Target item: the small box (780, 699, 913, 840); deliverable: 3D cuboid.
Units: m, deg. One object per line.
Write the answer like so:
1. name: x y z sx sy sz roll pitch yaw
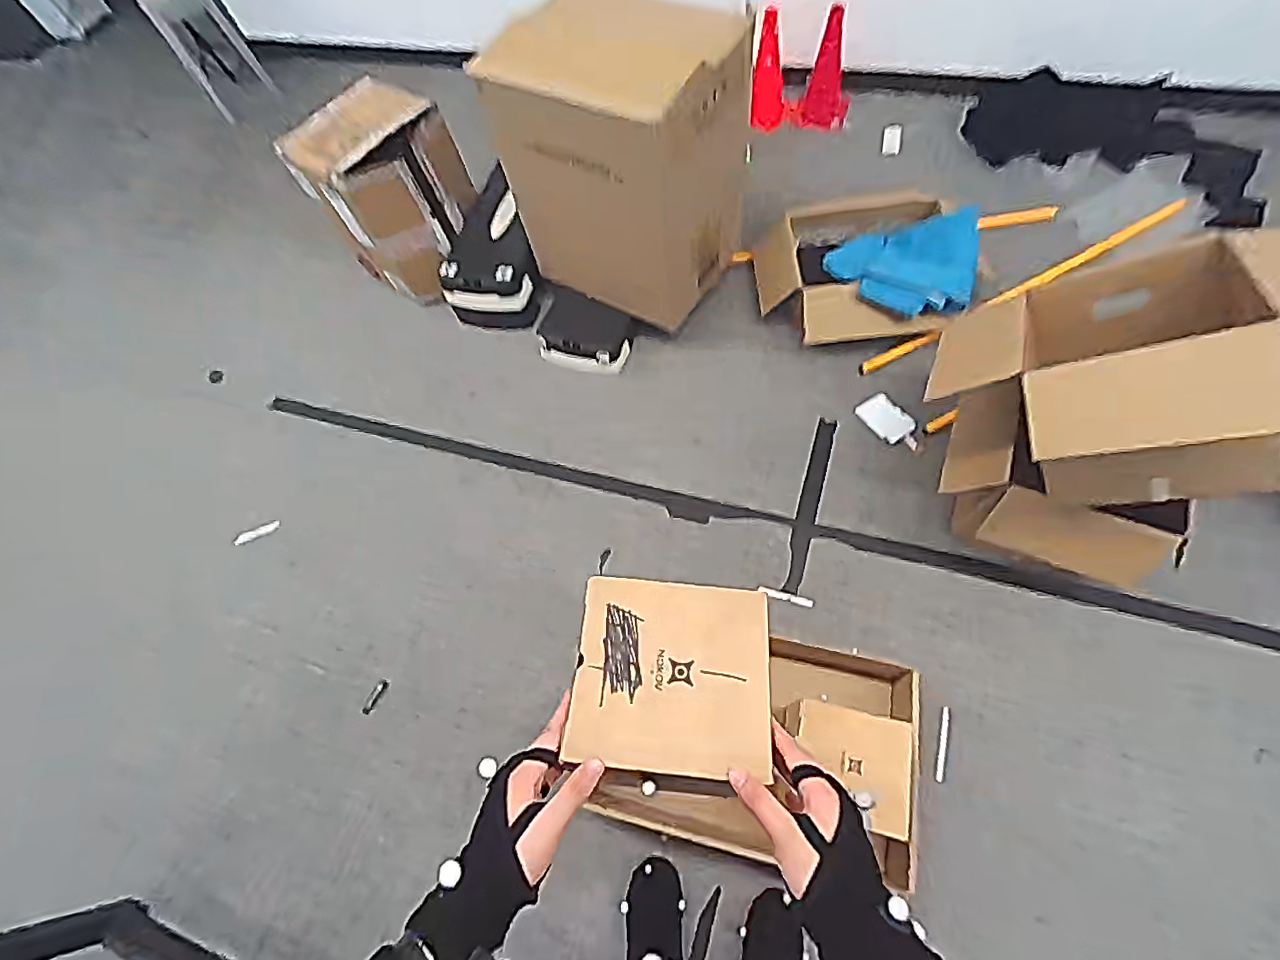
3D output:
1. small box: 0.345 0.484 0.923 0.179 0.176 0.168 9 65 13
